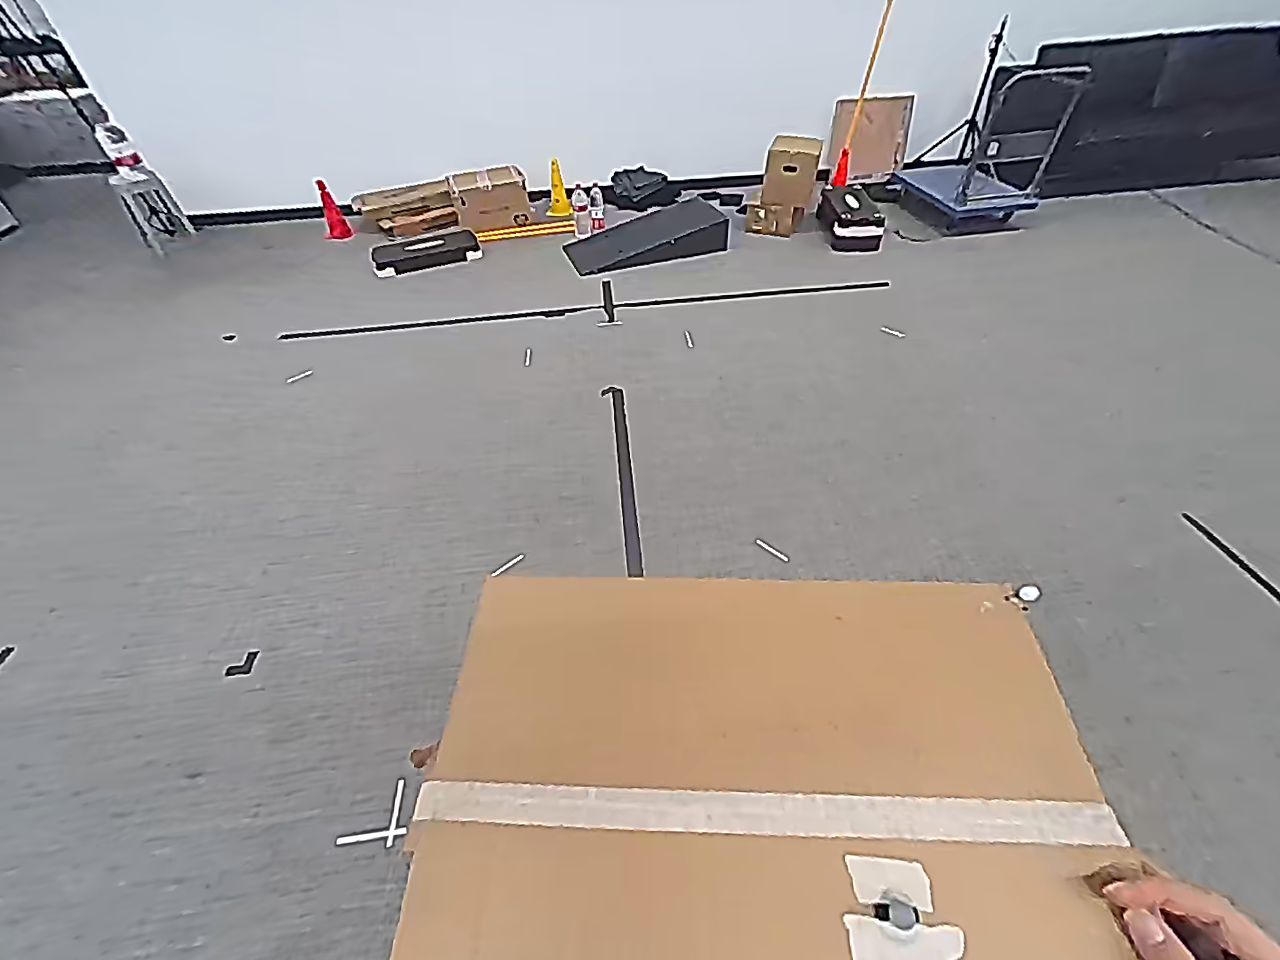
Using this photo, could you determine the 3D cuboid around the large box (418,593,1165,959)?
[{"bbox_3d":[0.082,0.303,0.442,0.408,0.320,0.320,0,51,3],"label":"large box"}]
